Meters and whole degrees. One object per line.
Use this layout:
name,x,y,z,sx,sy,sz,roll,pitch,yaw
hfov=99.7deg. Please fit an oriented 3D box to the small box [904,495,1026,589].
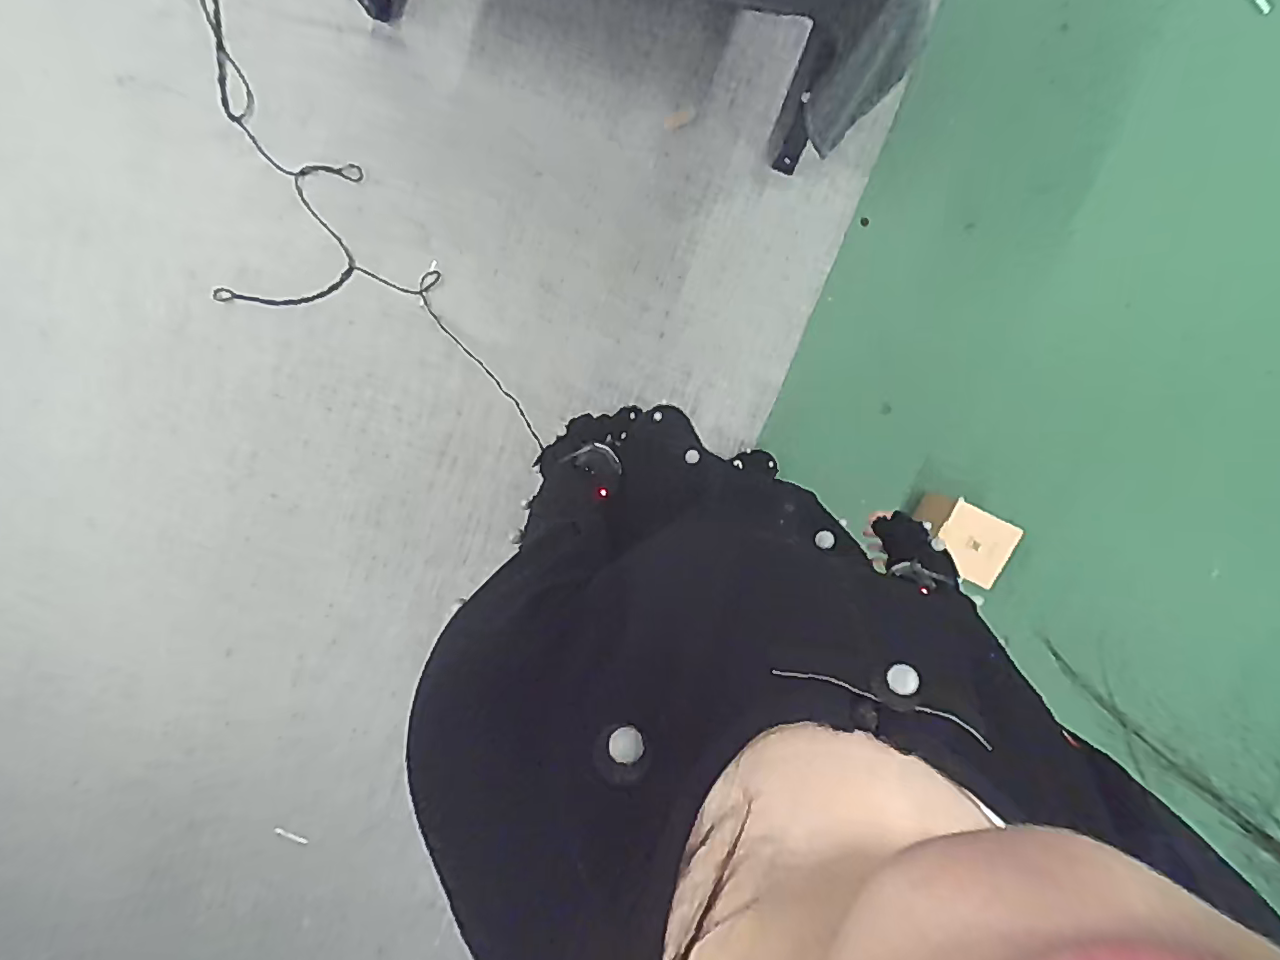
small box,0.813,0.147,1.375,0.179,0.176,0.168,26,98,1
